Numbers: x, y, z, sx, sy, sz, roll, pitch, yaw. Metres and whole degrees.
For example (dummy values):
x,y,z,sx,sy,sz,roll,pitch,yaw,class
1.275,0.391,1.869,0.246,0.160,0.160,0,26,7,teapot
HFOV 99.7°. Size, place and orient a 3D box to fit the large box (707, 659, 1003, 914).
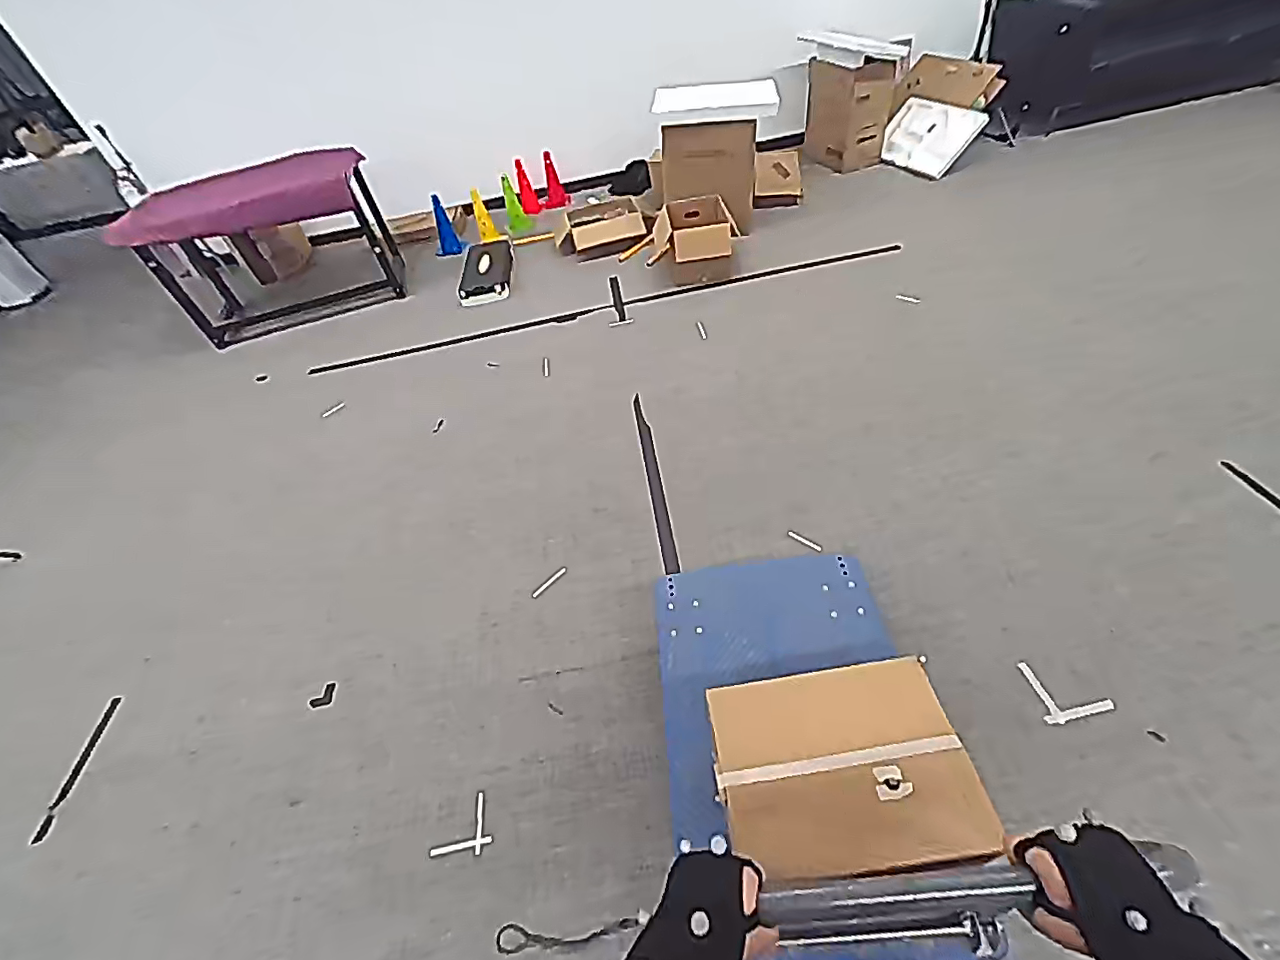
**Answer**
x,y,z,sx,sy,sz,roll,pitch,yaw,class
0.359,0.586,1.030,0.408,0.320,0.320,-10,47,1,large box
